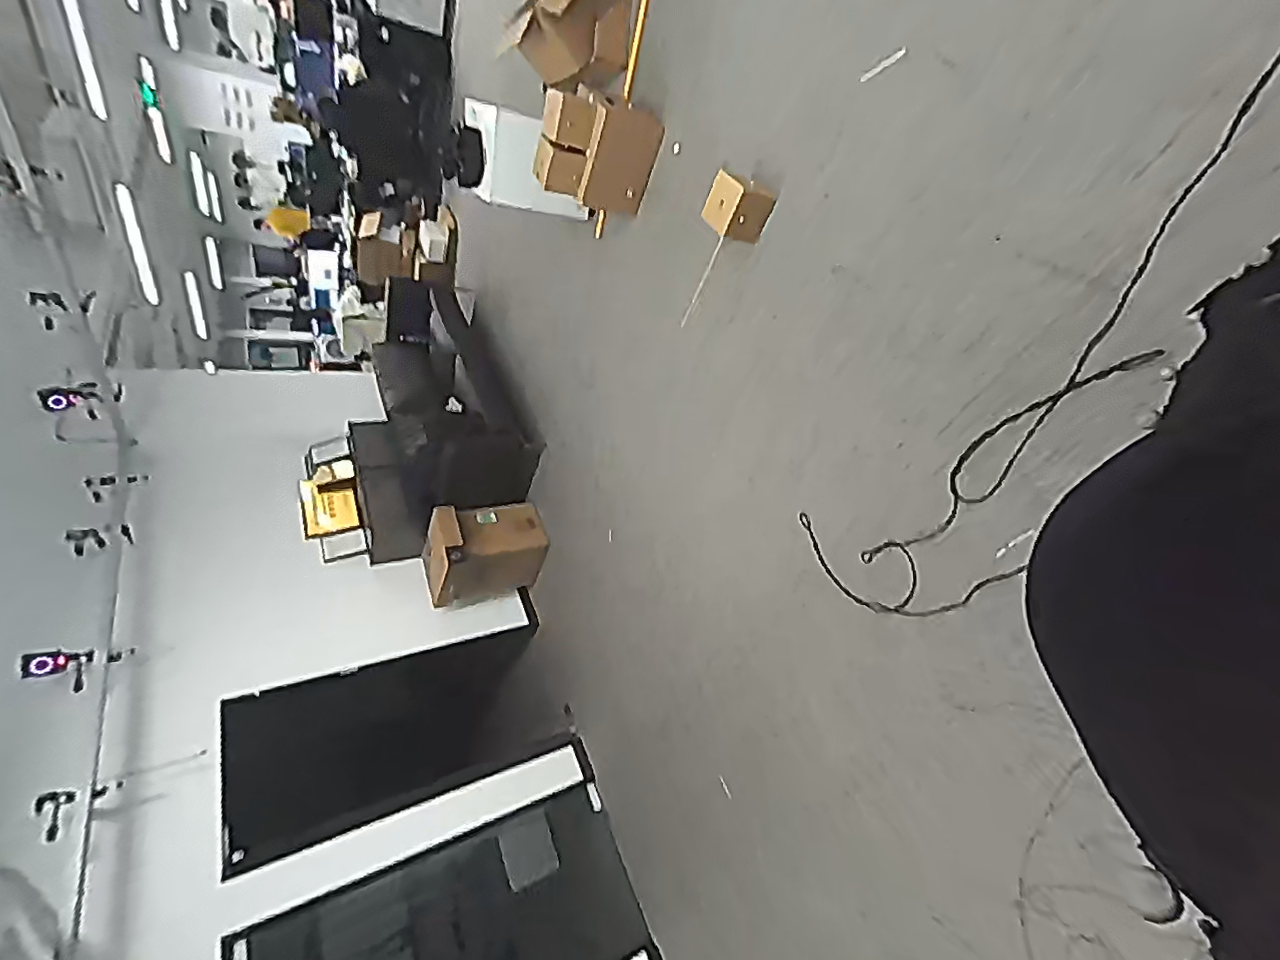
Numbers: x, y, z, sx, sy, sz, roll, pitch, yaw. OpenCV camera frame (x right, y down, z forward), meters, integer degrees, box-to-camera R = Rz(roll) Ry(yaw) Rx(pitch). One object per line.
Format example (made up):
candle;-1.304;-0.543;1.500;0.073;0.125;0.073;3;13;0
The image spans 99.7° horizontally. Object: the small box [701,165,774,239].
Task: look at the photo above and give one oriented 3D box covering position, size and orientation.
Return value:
small box;0.359;-1.005;1.964;0.168;0.176;0.179;59;141;32
